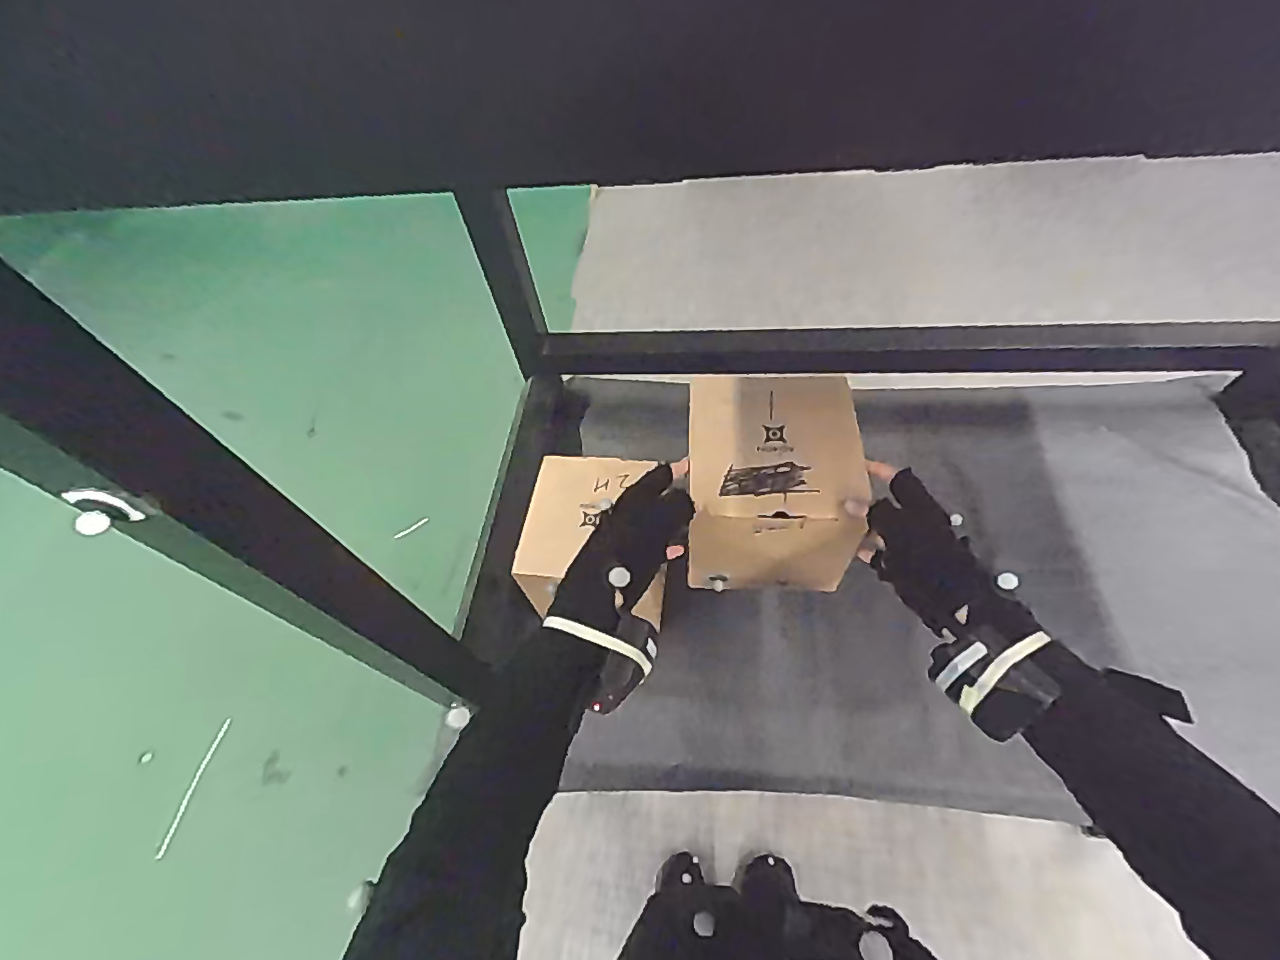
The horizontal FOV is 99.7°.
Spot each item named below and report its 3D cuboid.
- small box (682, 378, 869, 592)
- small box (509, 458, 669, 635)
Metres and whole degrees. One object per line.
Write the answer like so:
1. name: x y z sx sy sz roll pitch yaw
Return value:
1. small box: 0.133 0.011 0.587 0.168 0.176 0.179 0 55 6
2. small box: -0.053 0.093 0.721 0.168 0.176 0.179 4 56 8
